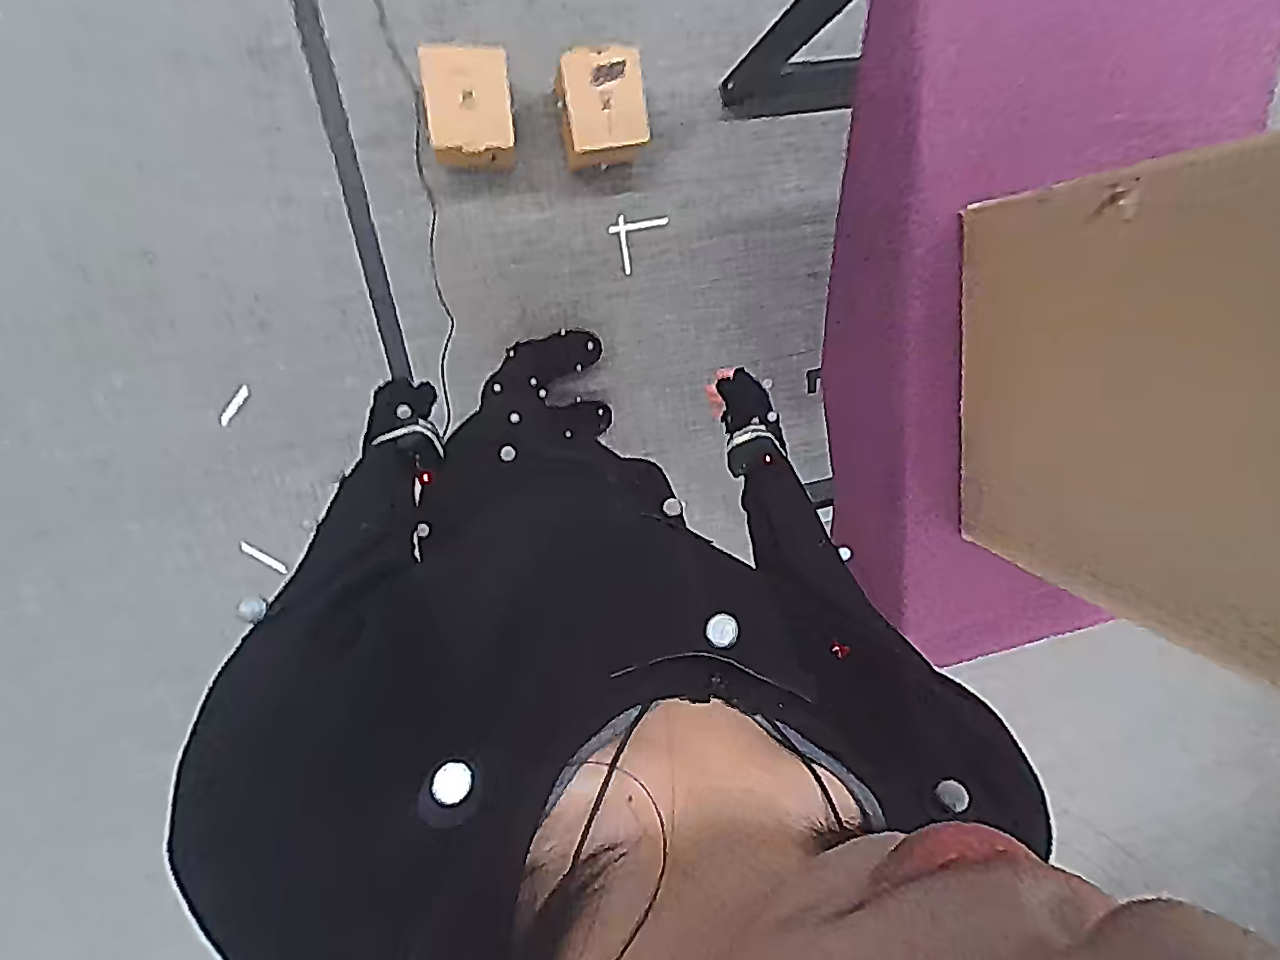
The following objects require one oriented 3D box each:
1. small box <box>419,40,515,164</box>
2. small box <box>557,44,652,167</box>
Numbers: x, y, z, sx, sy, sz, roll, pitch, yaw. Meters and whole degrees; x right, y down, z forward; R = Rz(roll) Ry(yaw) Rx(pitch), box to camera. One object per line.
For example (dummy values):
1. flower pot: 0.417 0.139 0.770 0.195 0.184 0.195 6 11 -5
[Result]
1. small box: -0.356 -0.784 1.141 0.168 0.176 0.179 -7 107 -12
2. small box: -0.083 -0.815 1.191 0.168 0.176 0.179 -13 109 -9
